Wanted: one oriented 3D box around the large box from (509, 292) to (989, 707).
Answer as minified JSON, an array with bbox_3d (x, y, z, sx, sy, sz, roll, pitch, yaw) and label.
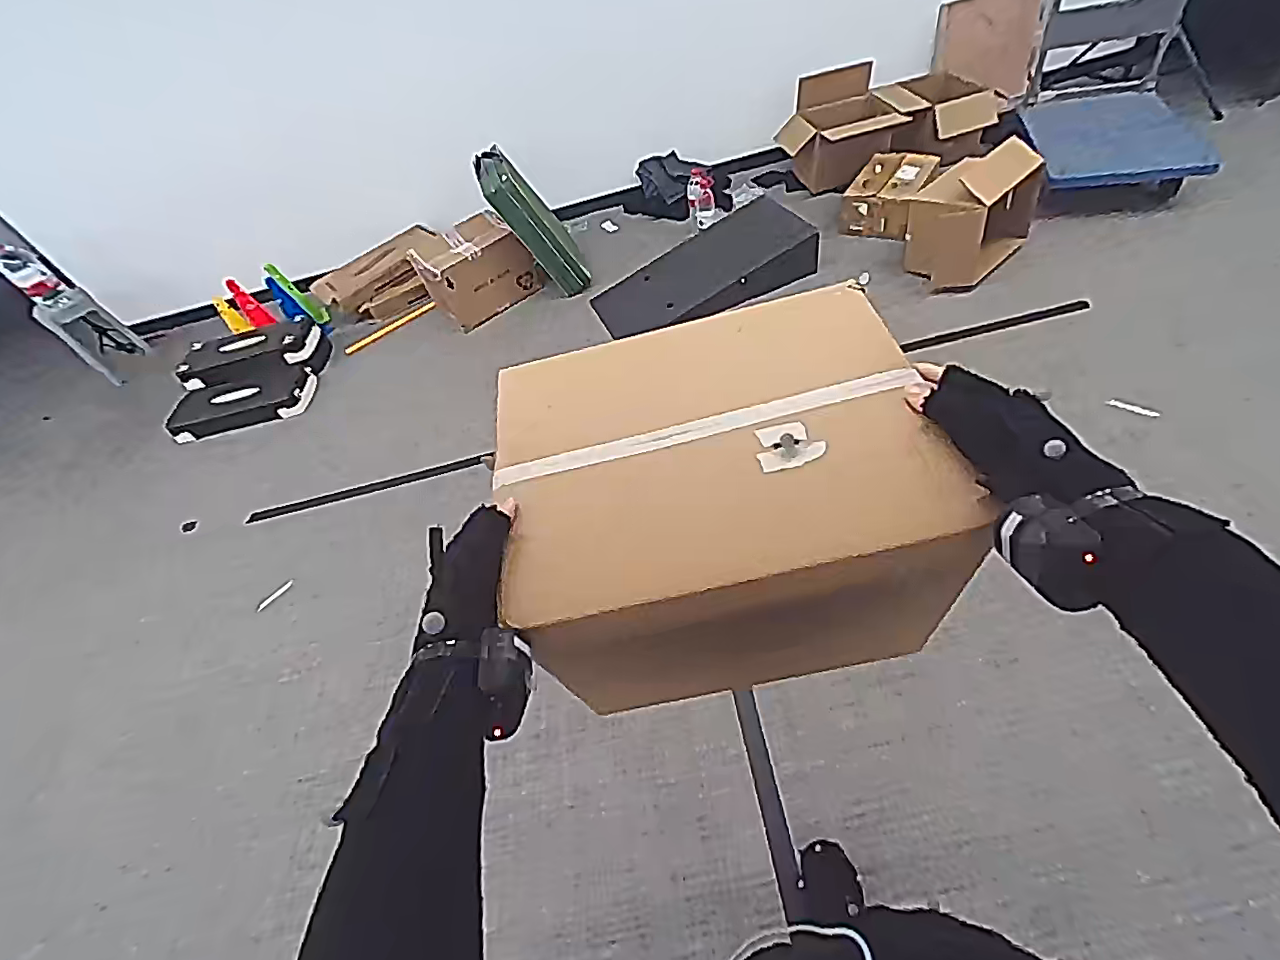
[{"bbox_3d":[0.090,0.039,0.645,0.408,0.320,0.320,-13,54,3],"label":"large box"}]
